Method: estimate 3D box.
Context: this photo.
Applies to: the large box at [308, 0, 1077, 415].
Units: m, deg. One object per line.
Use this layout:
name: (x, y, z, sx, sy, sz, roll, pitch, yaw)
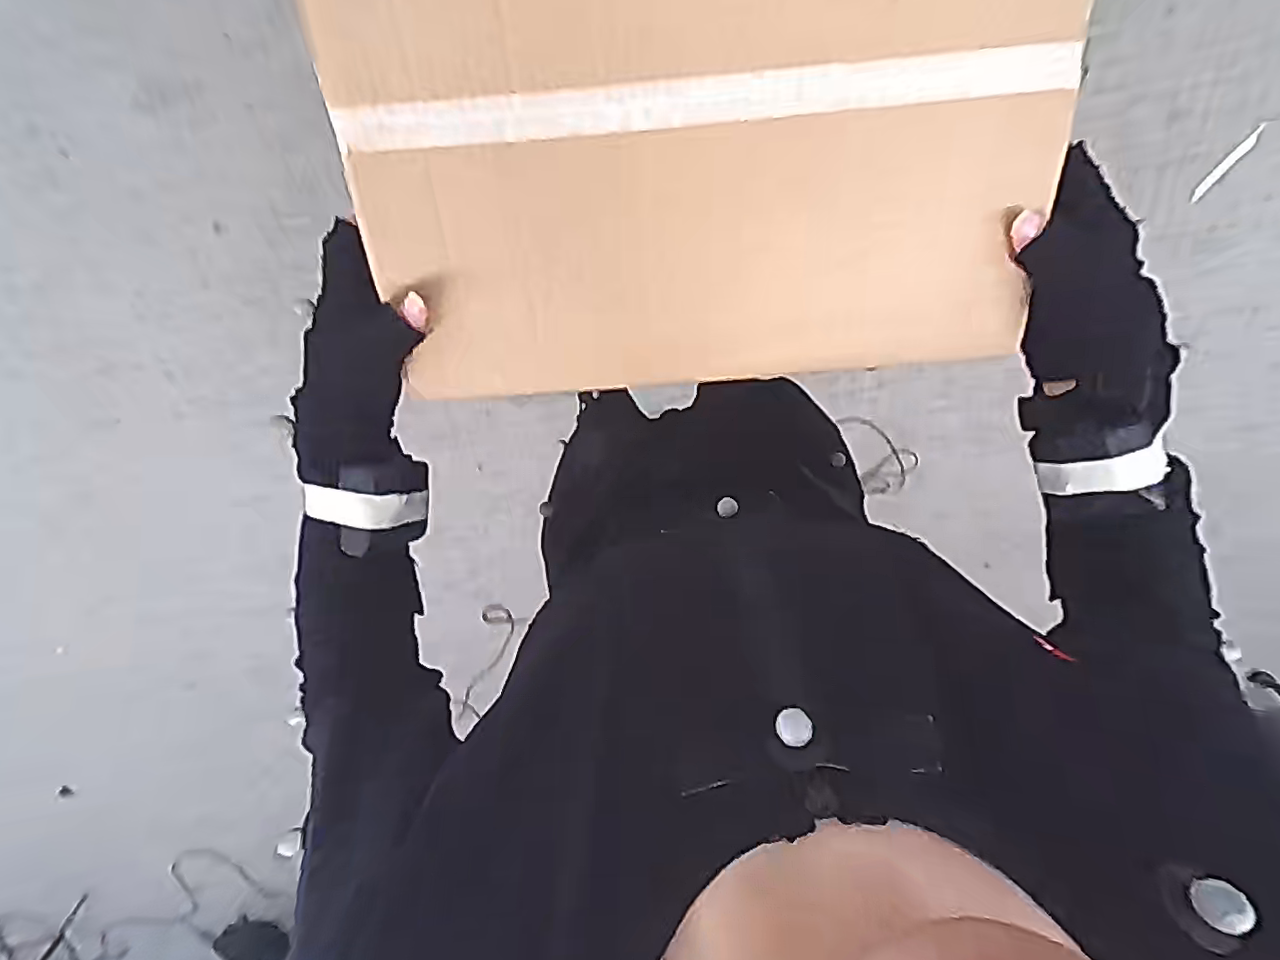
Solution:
large box: (0.031, -0.264, 0.437, 0.408, 0.320, 0.320, -4, 115, 1)
